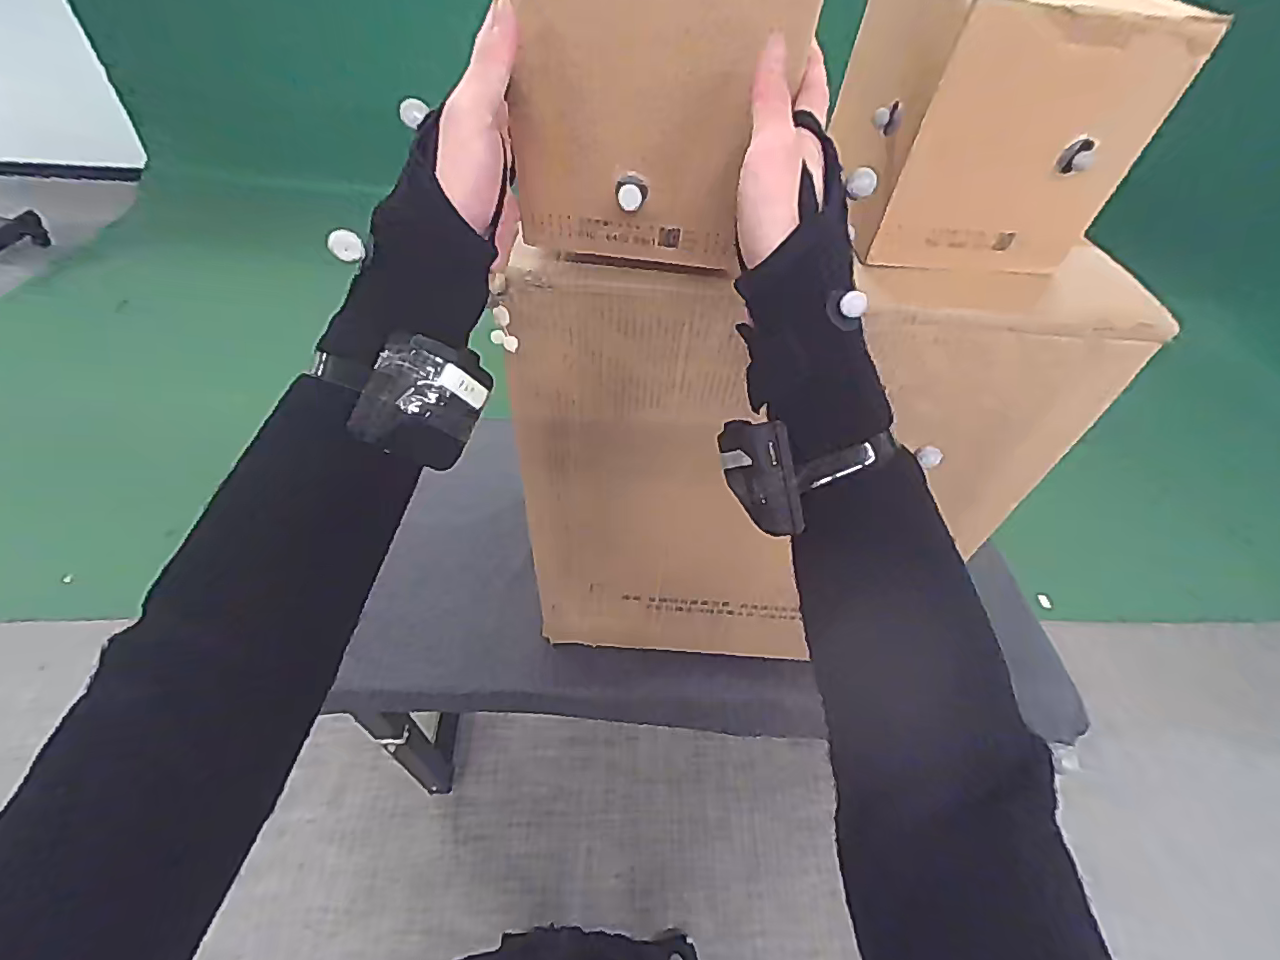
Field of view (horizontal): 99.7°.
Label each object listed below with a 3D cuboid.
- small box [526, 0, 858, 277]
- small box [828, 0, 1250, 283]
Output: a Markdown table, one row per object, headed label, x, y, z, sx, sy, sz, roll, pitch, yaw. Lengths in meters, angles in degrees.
| label | x | y | z | sx | sy | sz | roll | pitch | yaw |
| --- | --- | --- | --- | --- | --- | --- | --- | --- | --- |
| small box | 0.028 | -0.265 | 0.351 | 0.168 | 0.176 | 0.179 | 10 | 57 | 2 |
| small box | 0.275 | -0.277 | 0.429 | 0.168 | 0.176 | 0.179 | 2 | 51 | -7 |
